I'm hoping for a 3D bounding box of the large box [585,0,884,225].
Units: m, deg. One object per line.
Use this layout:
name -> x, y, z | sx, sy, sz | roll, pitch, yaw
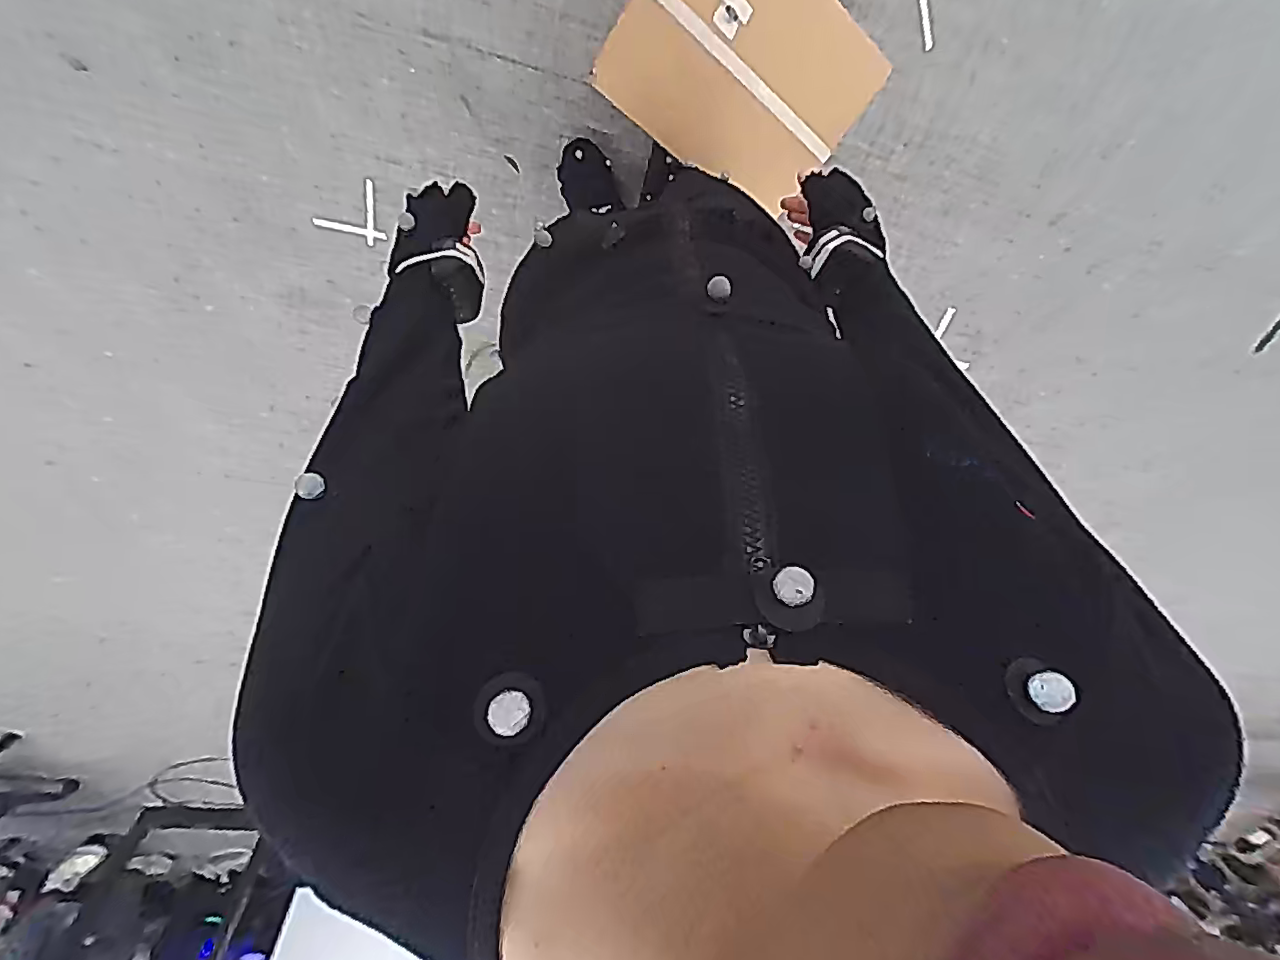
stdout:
large box -> 0.151, -0.756, 1.006 | 0.408, 0.320, 0.320 | 29, 118, -22
